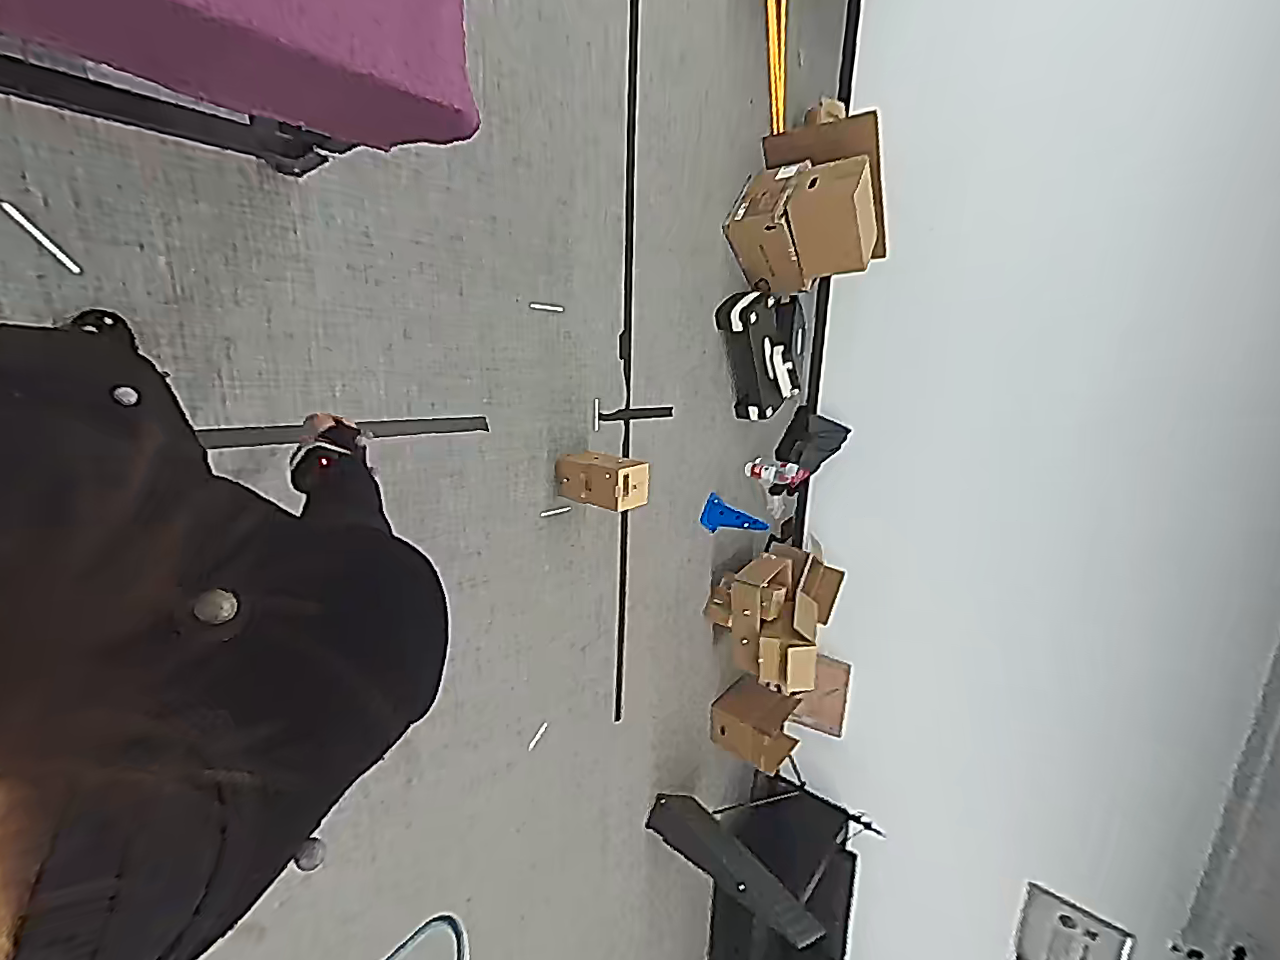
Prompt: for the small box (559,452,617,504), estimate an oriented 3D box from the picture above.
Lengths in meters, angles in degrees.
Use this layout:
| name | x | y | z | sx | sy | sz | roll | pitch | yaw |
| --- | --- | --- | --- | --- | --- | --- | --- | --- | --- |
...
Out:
| name | x | y | z | sx | sy | sz | roll | pitch | yaw |
| --- | --- | --- | --- | --- | --- | --- | --- | --- | --- |
| small box | -0.211 | -0.014 | 2.206 | 0.179 | 0.176 | 0.168 | -17 | 113 | -46 |
